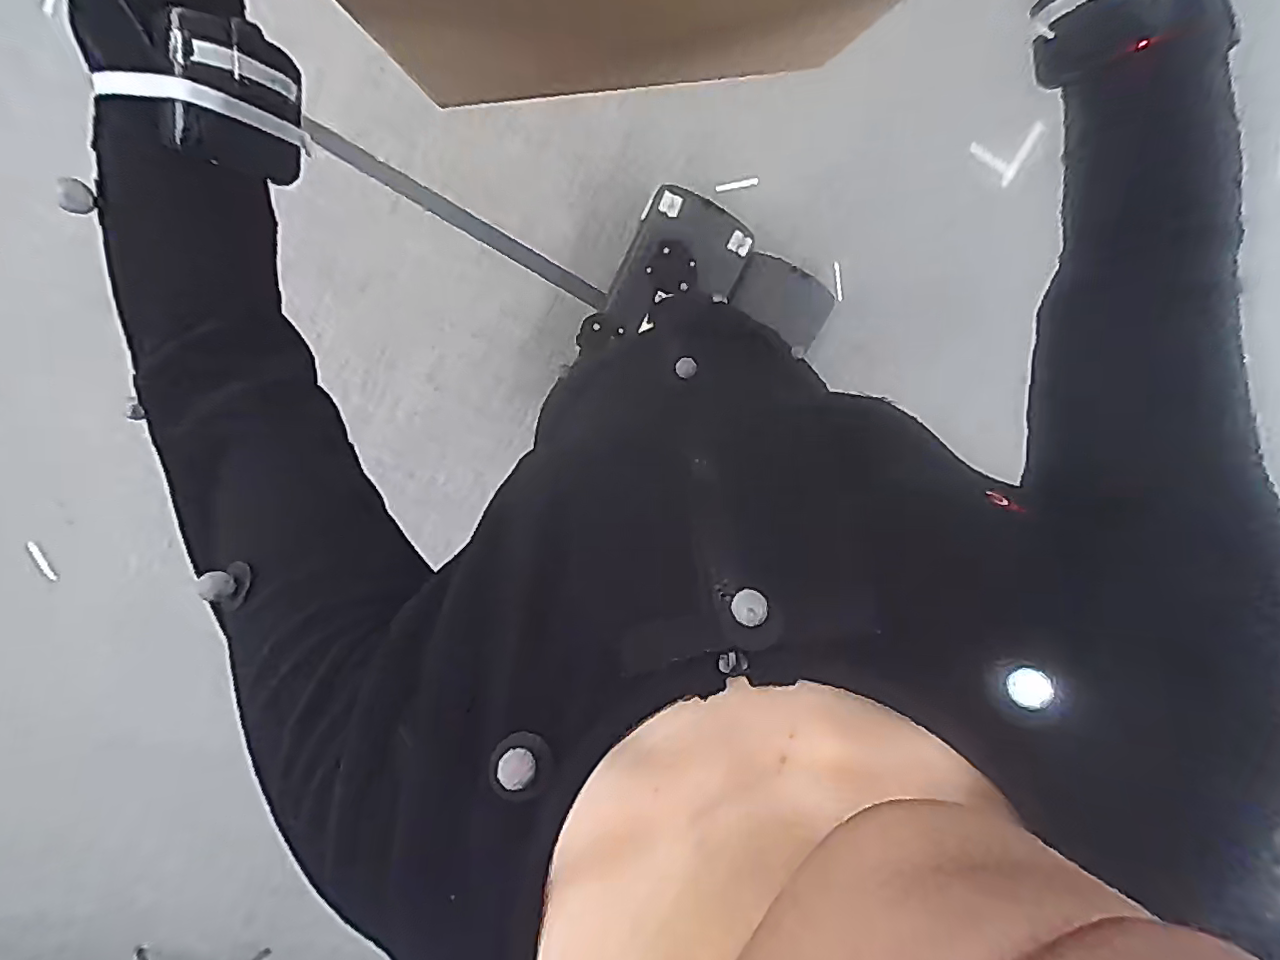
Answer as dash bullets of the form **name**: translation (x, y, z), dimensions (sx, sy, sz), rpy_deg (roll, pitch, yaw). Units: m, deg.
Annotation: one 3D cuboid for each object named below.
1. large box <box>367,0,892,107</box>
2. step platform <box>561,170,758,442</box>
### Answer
- **large box**: translation (-0.006, -0.495, 0.369), dimensions (0.408, 0.320, 0.320), rpy_deg (-8, 113, -3)
- **step platform**: translation (0.037, -0.448, 1.471), dimensions (0.286, 0.204, 0.684), rpy_deg (24, 104, -12)
